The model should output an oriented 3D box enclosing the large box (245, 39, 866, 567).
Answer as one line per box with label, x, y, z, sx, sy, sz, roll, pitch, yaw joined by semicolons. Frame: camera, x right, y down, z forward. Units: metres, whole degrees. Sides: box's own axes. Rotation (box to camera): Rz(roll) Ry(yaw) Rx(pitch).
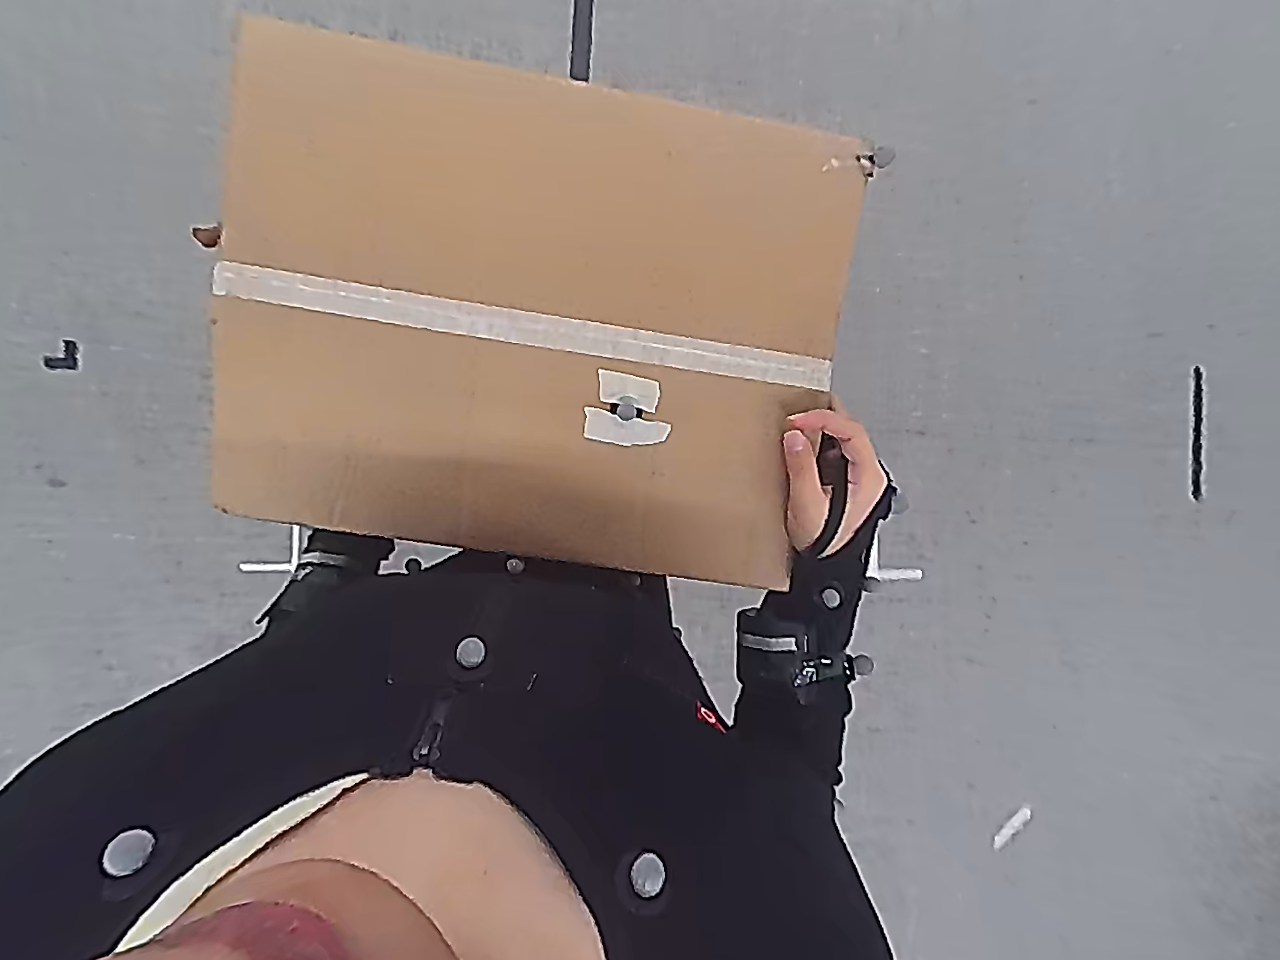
large box;-0.070;-0.124;0.520;0.408;0.320;0.320;8;97;-5
